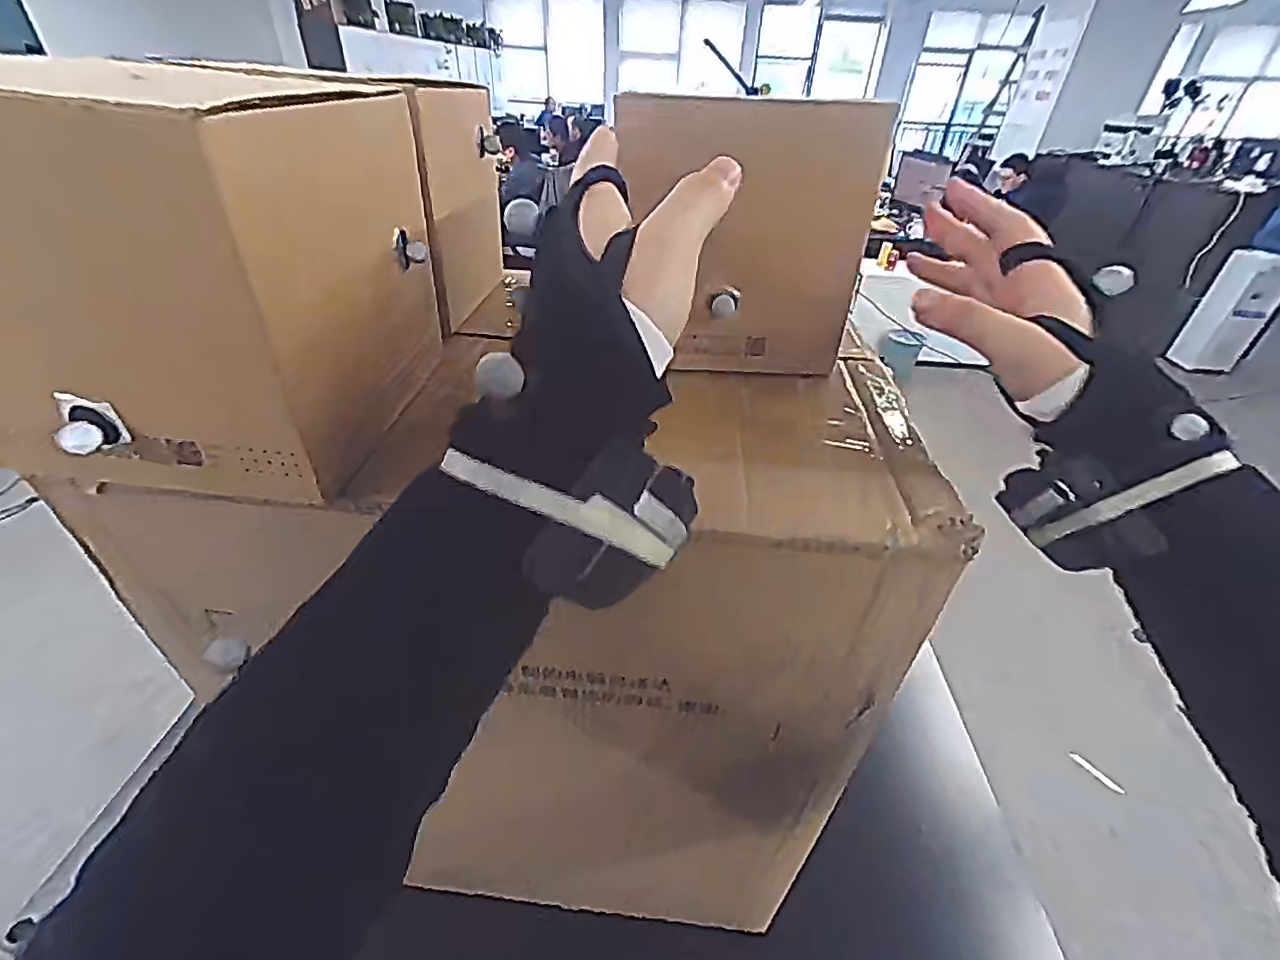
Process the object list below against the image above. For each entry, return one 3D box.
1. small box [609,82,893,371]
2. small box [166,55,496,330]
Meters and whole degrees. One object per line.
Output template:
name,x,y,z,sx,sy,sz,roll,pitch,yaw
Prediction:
small box,0.064,-0.199,0.421,0.168,0.176,0.179,2,35,1
small box,-0.226,-0.240,0.458,0.168,0.176,0.179,4,34,1
